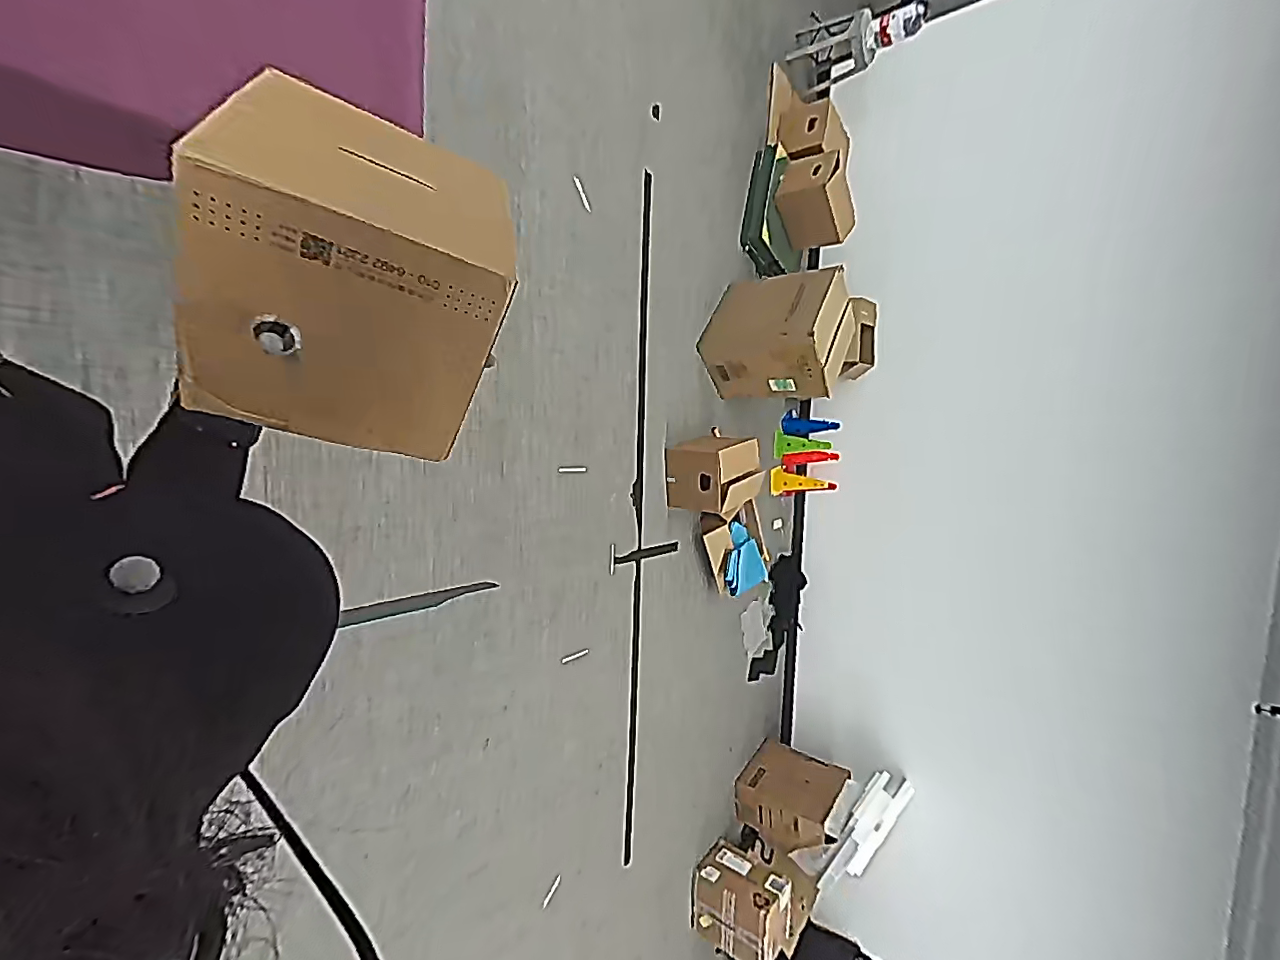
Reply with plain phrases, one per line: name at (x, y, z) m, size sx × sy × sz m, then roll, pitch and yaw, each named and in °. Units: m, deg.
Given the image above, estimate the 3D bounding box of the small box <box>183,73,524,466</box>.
small box at (-0.191, -0.142, 0.381) m, size 0.168 × 0.176 × 0.179 m, roll 16°, pitch 40°, yaw -30°
